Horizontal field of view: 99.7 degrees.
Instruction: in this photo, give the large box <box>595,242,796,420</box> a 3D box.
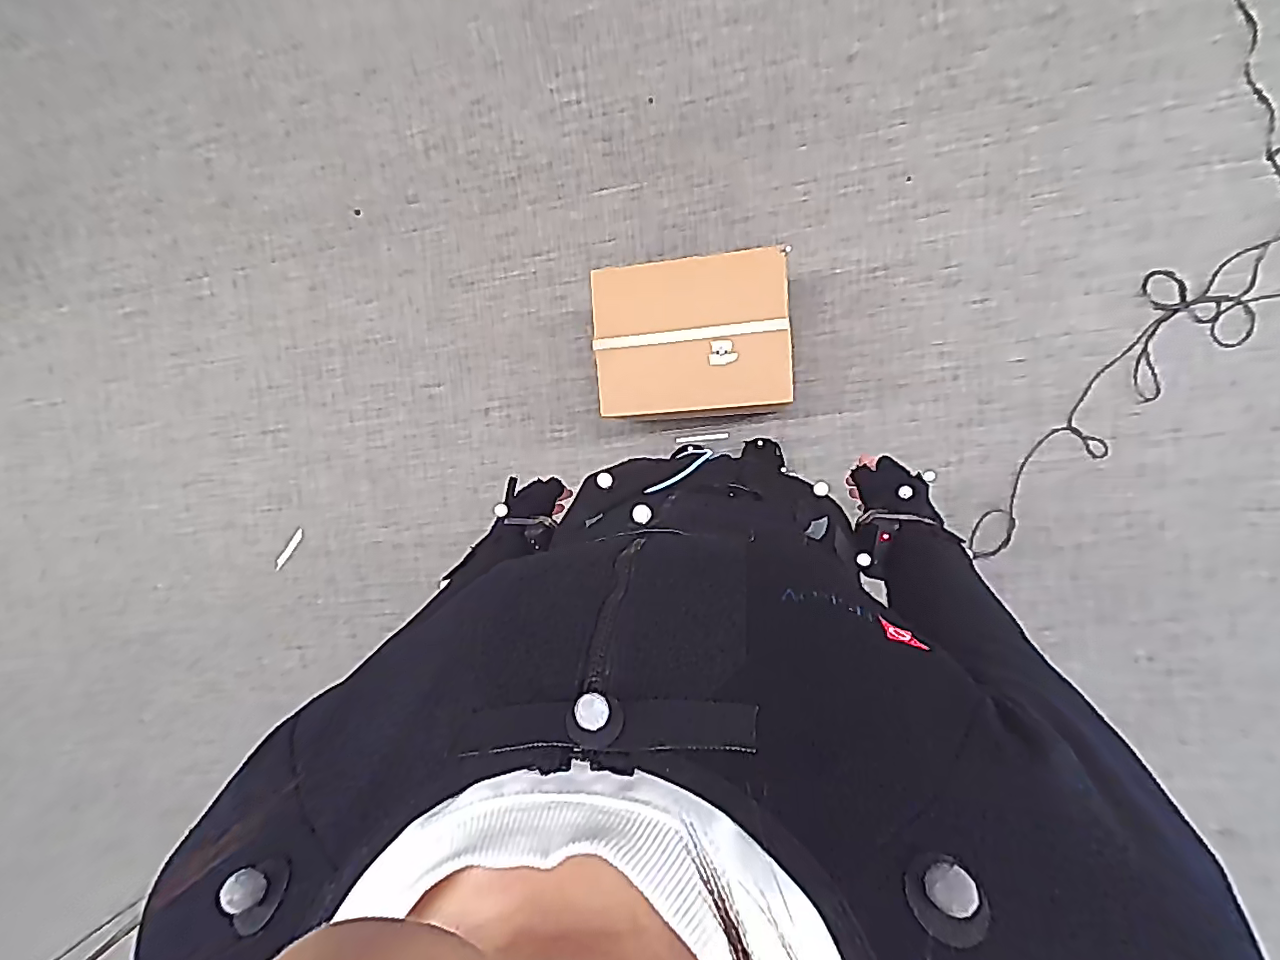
[{"bbox_3d":[0.134,-0.319,1.268,0.408,0.320,0.320,-4,94,10],"label":"large box"}]
